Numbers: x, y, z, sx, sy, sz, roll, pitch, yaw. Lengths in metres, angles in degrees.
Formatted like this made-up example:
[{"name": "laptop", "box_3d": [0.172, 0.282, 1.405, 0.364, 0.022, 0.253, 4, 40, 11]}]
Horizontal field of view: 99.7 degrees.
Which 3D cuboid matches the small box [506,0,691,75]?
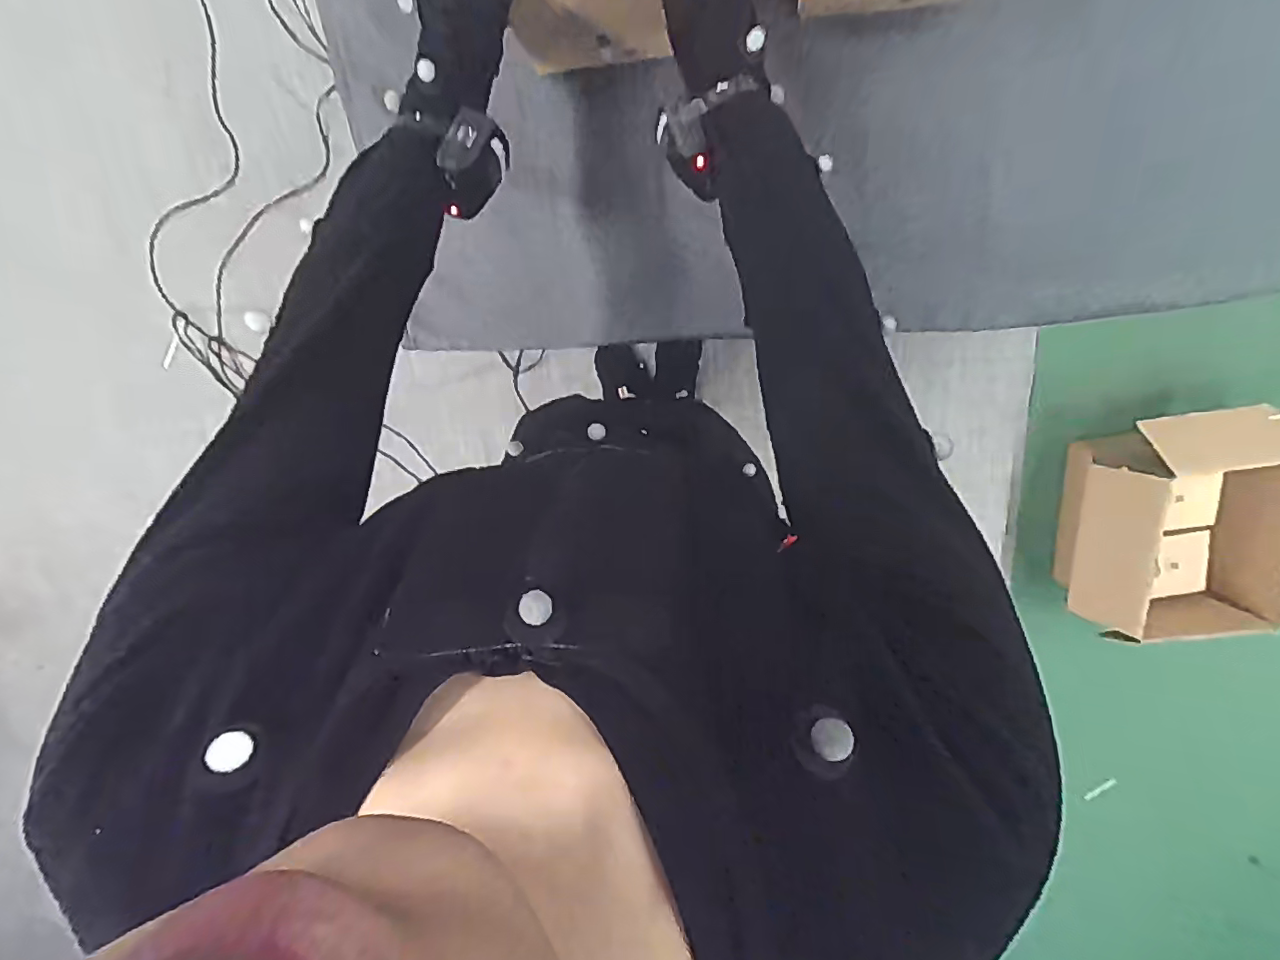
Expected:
[{"name": "small box", "box_3d": [-0.042, -0.499, 0.476, 0.168, 0.176, 0.179, -4, 107, 5]}]
